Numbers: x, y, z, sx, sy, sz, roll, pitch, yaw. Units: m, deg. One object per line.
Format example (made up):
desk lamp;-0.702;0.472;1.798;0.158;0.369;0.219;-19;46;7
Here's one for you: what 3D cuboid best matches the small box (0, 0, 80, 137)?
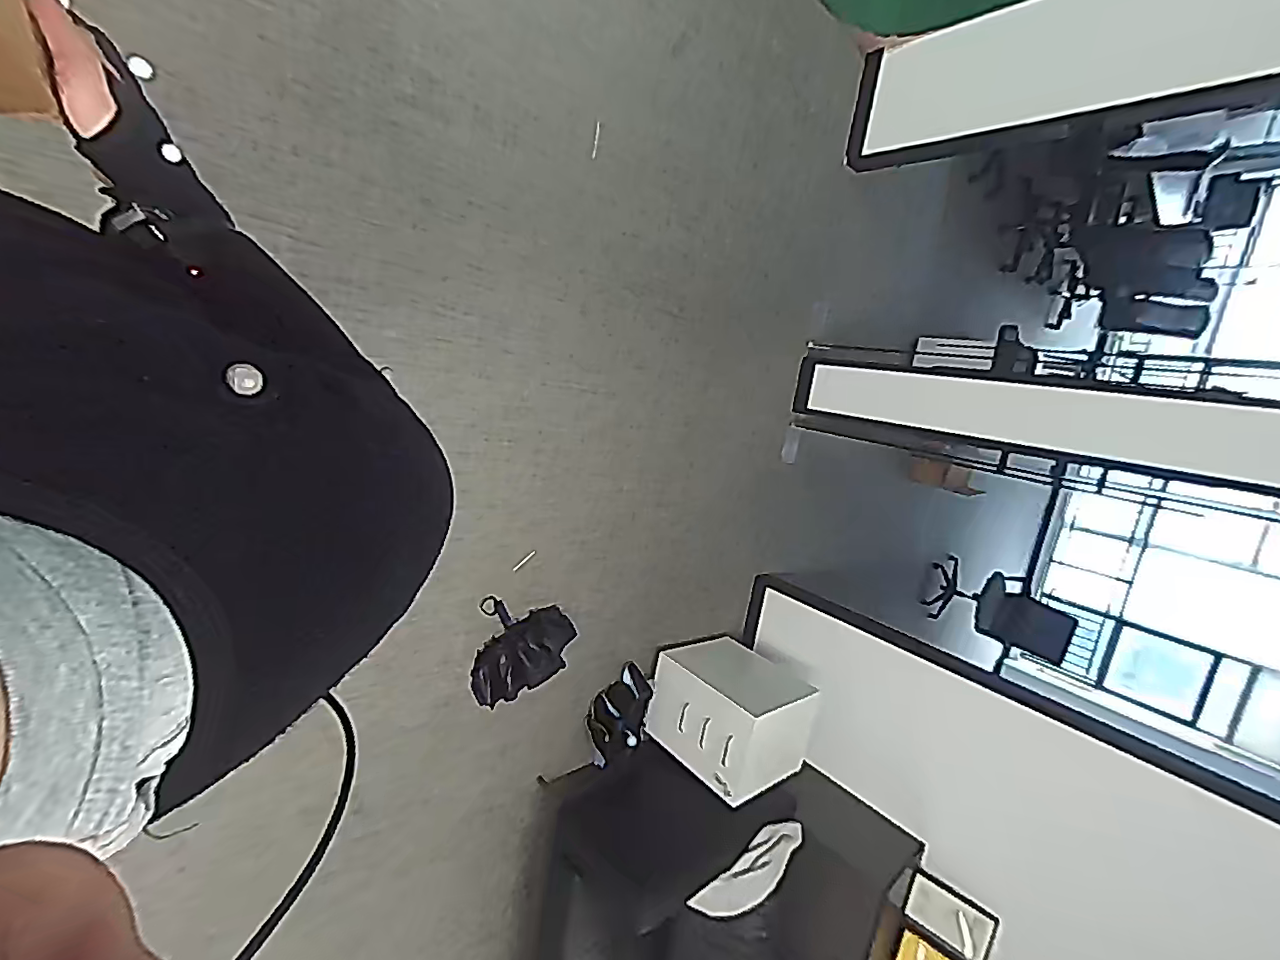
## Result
small box;-0.463;-0.312;0.292;0.179;0.176;0.168;-13;107;-34
